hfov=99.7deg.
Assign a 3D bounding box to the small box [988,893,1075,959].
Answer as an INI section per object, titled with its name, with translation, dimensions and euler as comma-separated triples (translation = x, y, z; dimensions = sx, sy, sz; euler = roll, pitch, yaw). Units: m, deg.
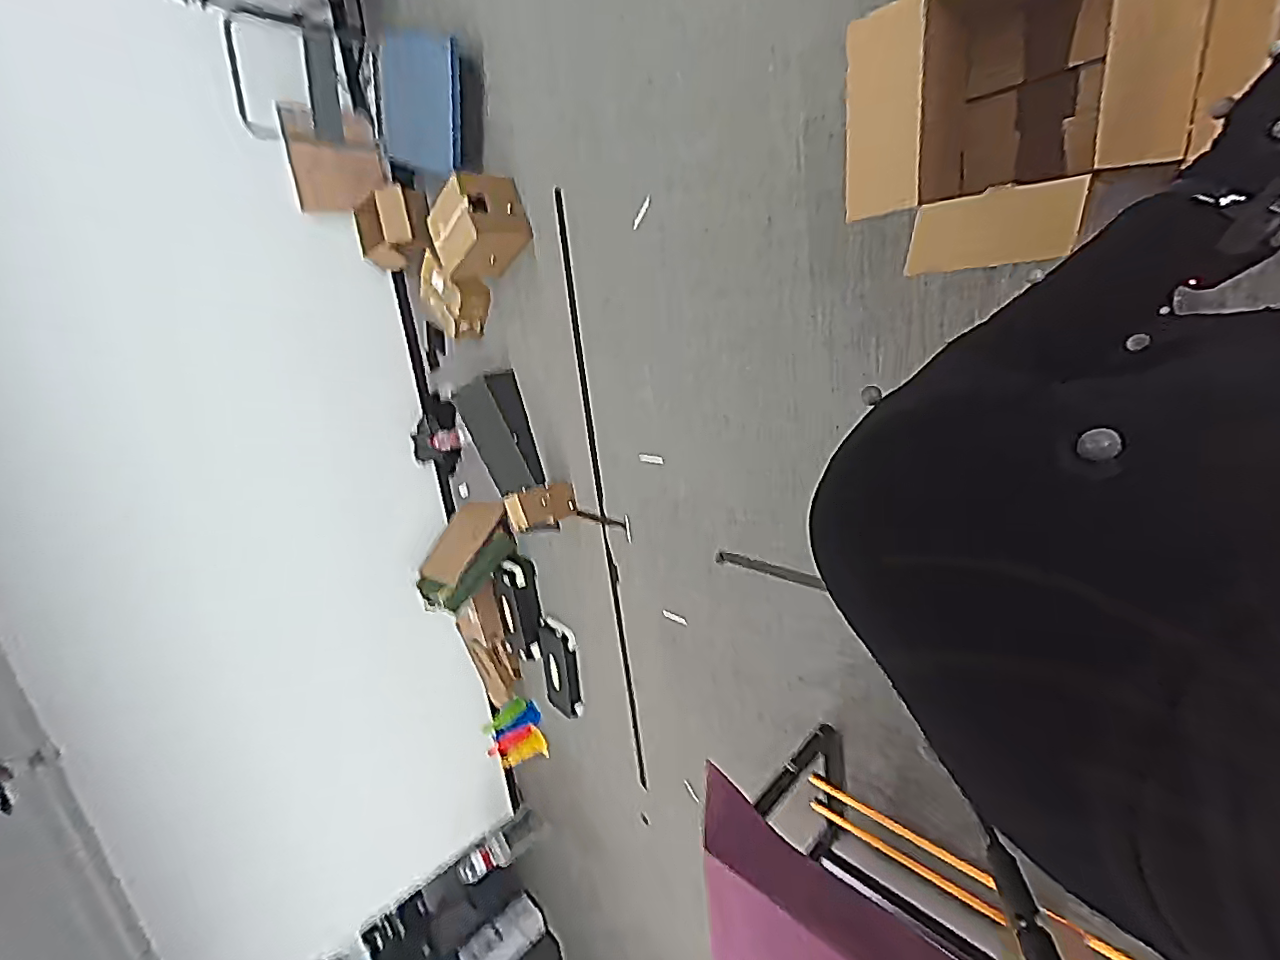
[small box]
translation = 1.135, 1.361, 1.567
dimensions = 0.179, 0.176, 0.168
euler = 8, 112, 48
